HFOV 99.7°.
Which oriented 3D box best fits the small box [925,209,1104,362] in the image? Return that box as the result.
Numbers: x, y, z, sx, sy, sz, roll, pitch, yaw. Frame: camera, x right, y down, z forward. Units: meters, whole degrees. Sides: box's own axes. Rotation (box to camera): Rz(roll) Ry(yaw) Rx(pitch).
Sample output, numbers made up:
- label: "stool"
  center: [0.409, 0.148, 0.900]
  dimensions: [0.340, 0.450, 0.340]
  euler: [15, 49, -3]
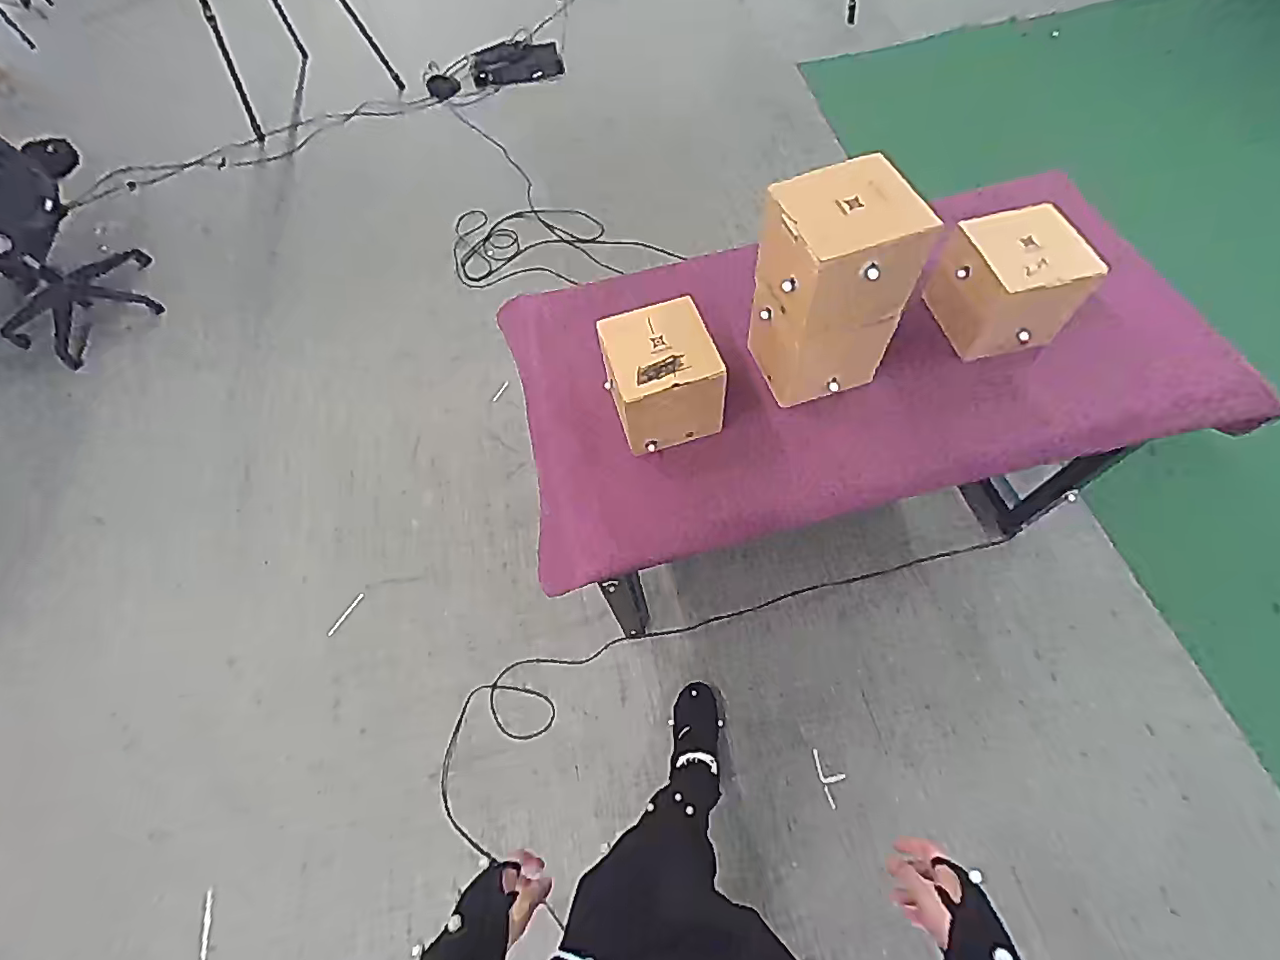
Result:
- label: "small box"
  center: [0.640, -0.338, 0.954]
  dimensions: [0.168, 0.176, 0.179]
  euler: [-12, 62, 0]

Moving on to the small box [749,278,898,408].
- label: "small box"
  center: [0.305, -0.252, 0.943]
  dimensions: [0.179, 0.176, 0.168]
  euler: [-17, 62, -4]

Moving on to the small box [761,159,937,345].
- label: "small box"
  center: [0.288, -0.327, 0.798]
  dimensions: [0.179, 0.176, 0.168]
  euler: [-17, 63, -3]

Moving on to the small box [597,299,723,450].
- label: "small box"
  center: [0.036, -0.170, 0.924]
  dimensions: [0.168, 0.176, 0.179]
  euler: [-16, 61, -4]
